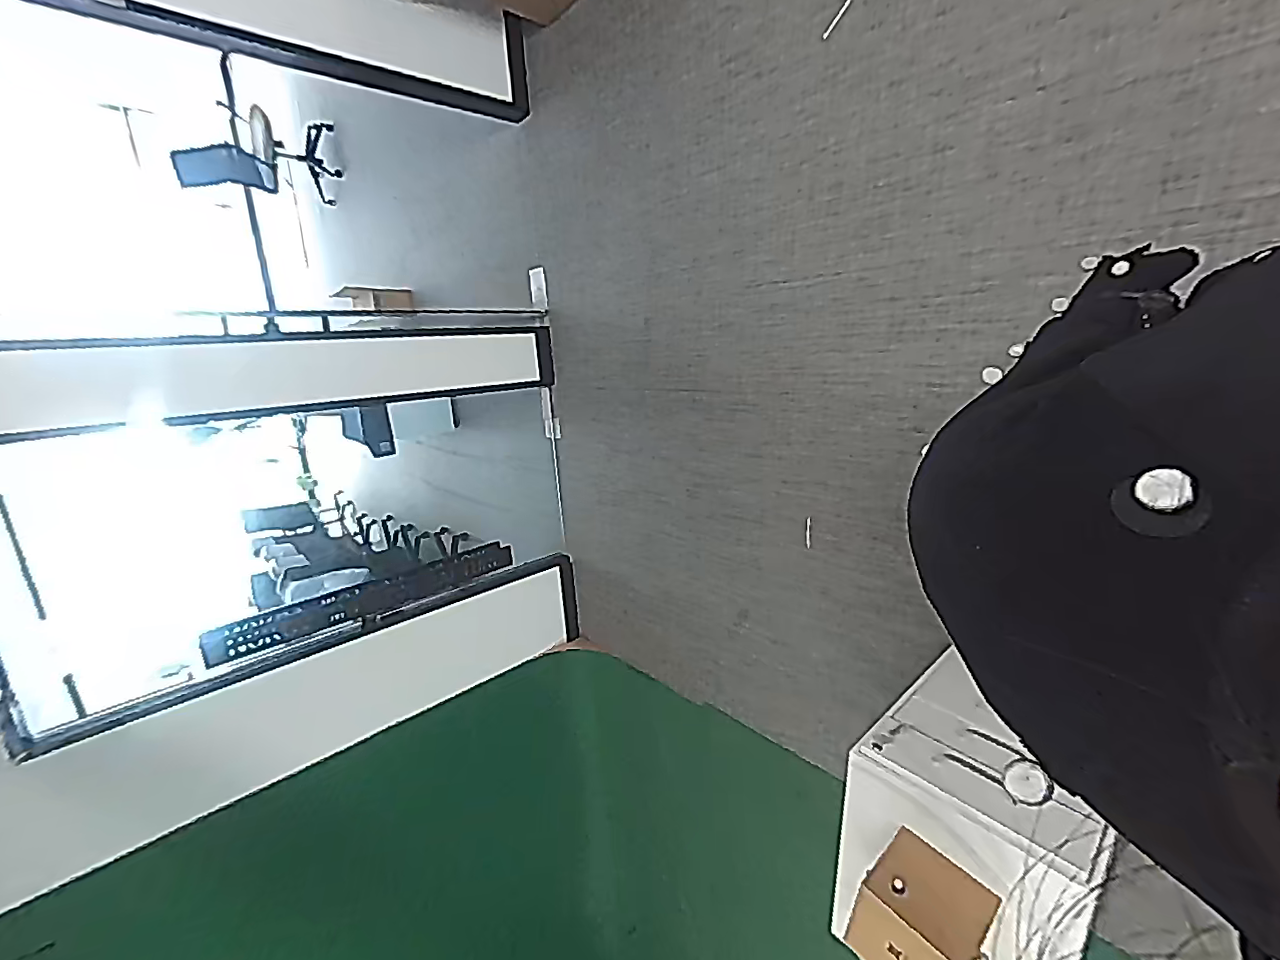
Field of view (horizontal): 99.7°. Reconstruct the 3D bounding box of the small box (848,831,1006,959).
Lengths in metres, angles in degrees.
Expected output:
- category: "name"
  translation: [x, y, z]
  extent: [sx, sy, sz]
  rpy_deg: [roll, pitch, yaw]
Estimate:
- category: "small box"
  translation: [0.504, 0.767, 0.956]
  extent: [0.179, 0.176, 0.168]
  rpy_deg: [25, 121, 43]
